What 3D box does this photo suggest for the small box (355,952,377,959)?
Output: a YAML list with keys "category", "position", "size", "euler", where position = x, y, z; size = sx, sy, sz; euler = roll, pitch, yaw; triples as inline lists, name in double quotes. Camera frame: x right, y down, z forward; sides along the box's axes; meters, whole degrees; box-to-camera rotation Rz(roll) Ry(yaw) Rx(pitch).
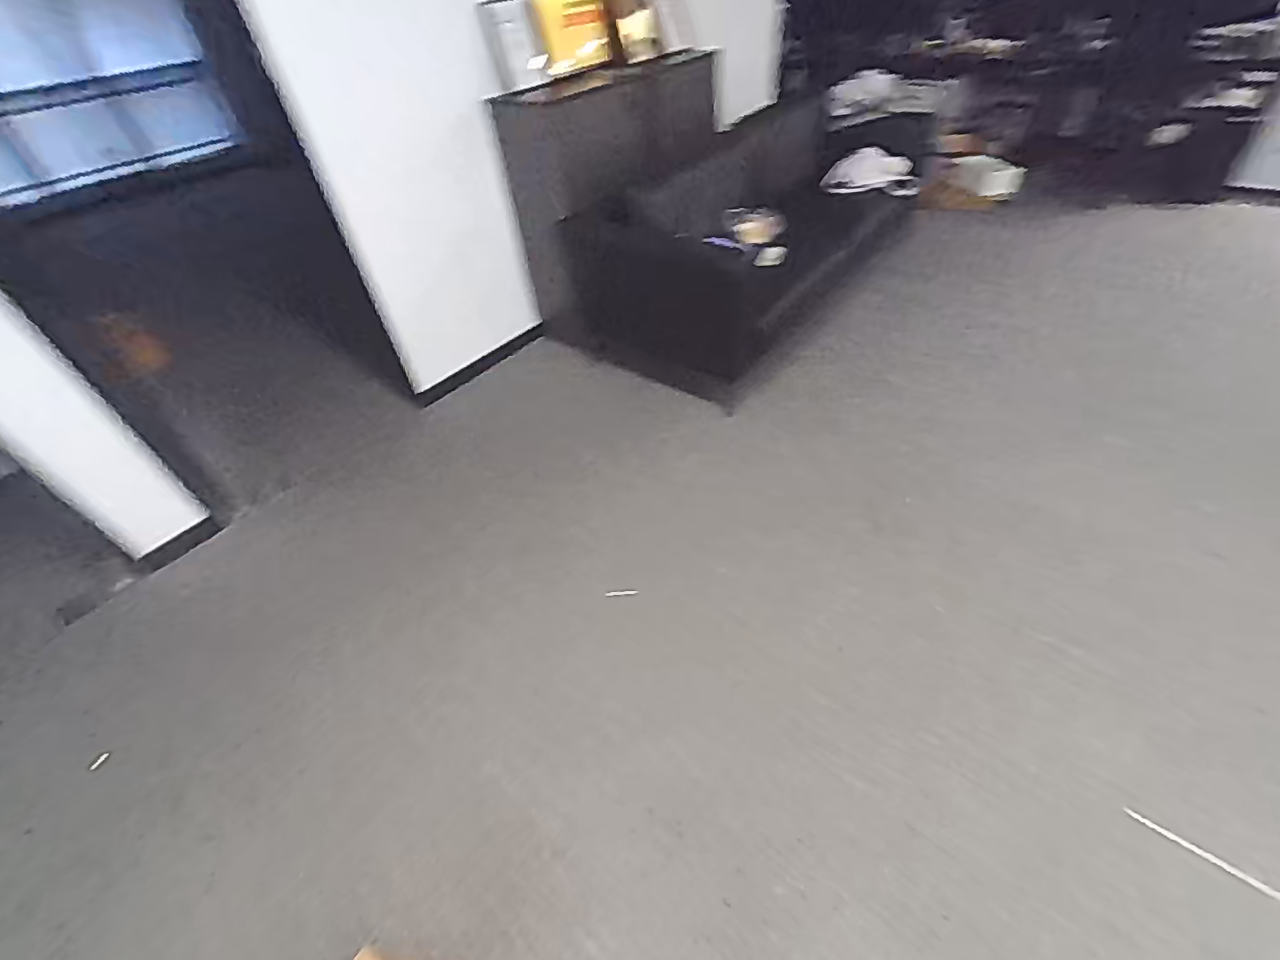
- category: "small box"
  position: [-0.426, 0.913, 0.864]
  size: [0.179, 0.176, 0.168]
  euler: [21, 49, 28]
